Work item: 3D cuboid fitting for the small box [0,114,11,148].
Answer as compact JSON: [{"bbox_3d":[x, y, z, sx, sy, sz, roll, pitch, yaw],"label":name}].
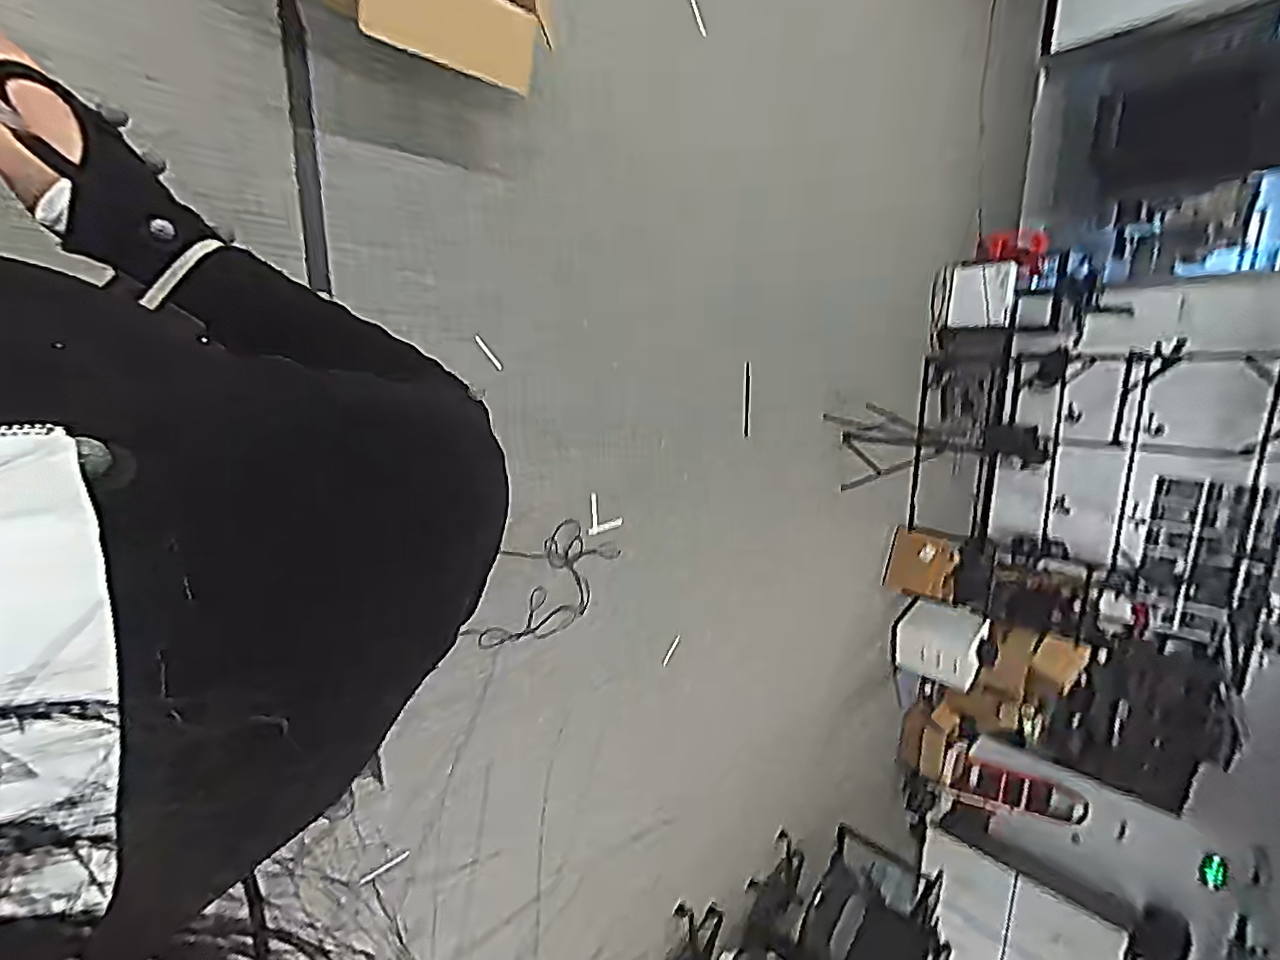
[{"bbox_3d":[-0.516,-0.290,0.299,0.179,0.176,0.168,-24,119,-39],"label":"small box"}]
